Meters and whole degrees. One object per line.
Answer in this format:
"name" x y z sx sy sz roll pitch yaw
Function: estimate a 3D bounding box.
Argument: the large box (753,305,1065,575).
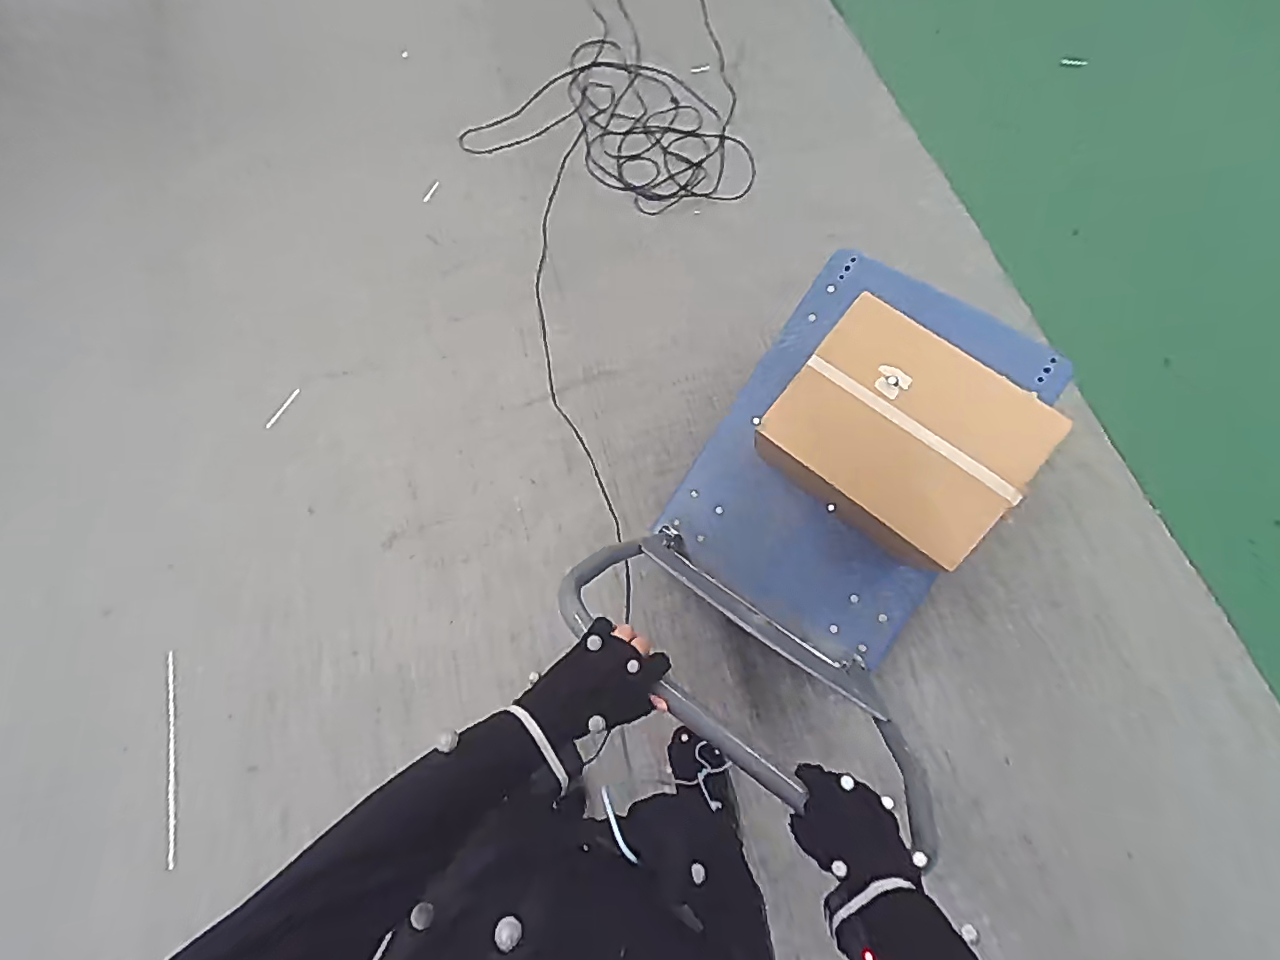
"large box" 0.481 -0.062 1.069 0.408 0.320 0.320 40 93 13
